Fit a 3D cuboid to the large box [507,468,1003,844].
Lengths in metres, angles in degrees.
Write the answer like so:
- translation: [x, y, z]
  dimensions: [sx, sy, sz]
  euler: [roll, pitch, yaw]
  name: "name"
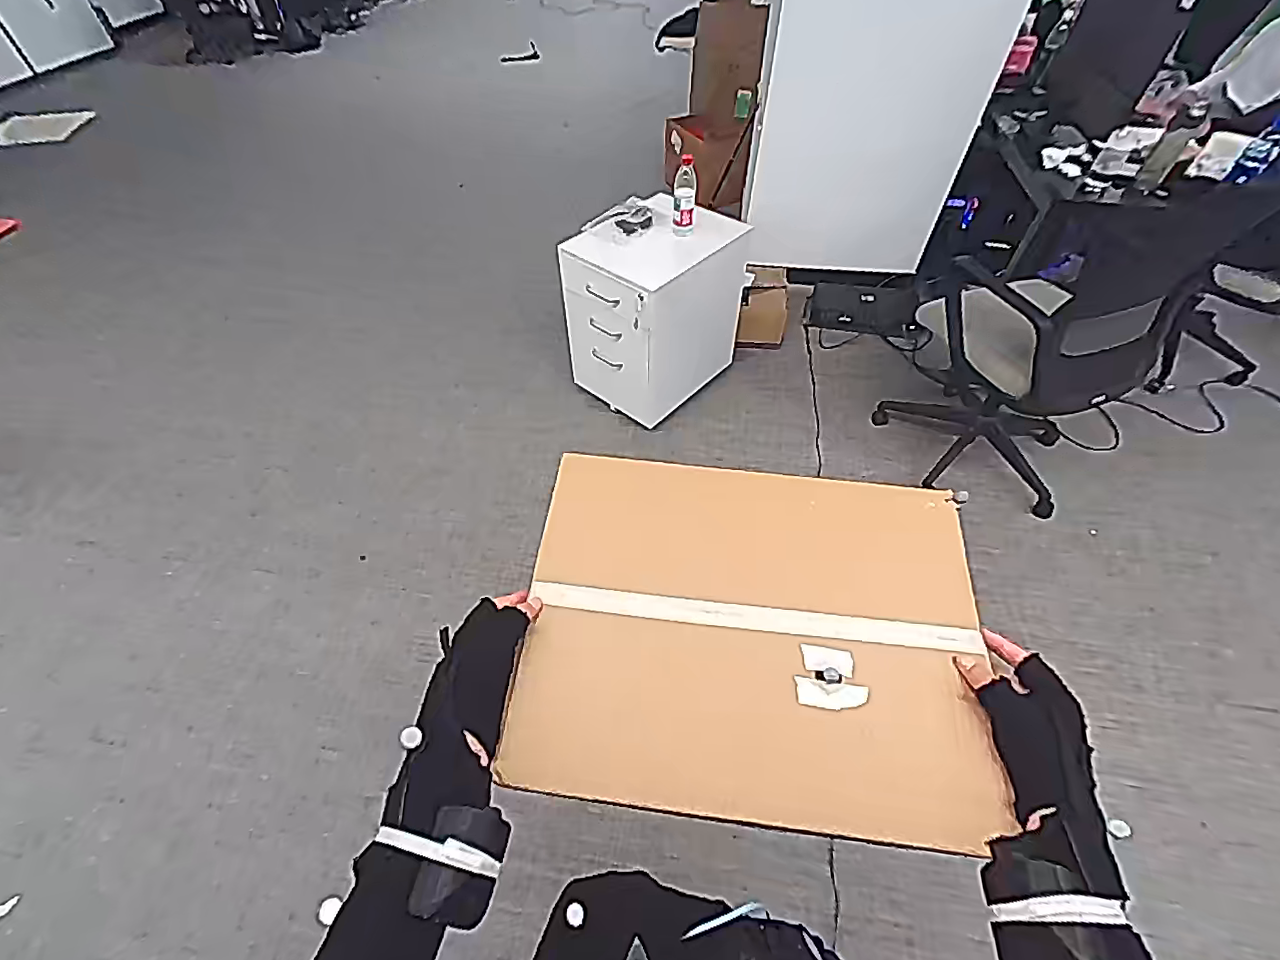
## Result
- translation: [0.102, 0.209, 0.632]
  dimensions: [0.408, 0.320, 0.320]
  euler: [6, 60, 4]
  name: "large box"
